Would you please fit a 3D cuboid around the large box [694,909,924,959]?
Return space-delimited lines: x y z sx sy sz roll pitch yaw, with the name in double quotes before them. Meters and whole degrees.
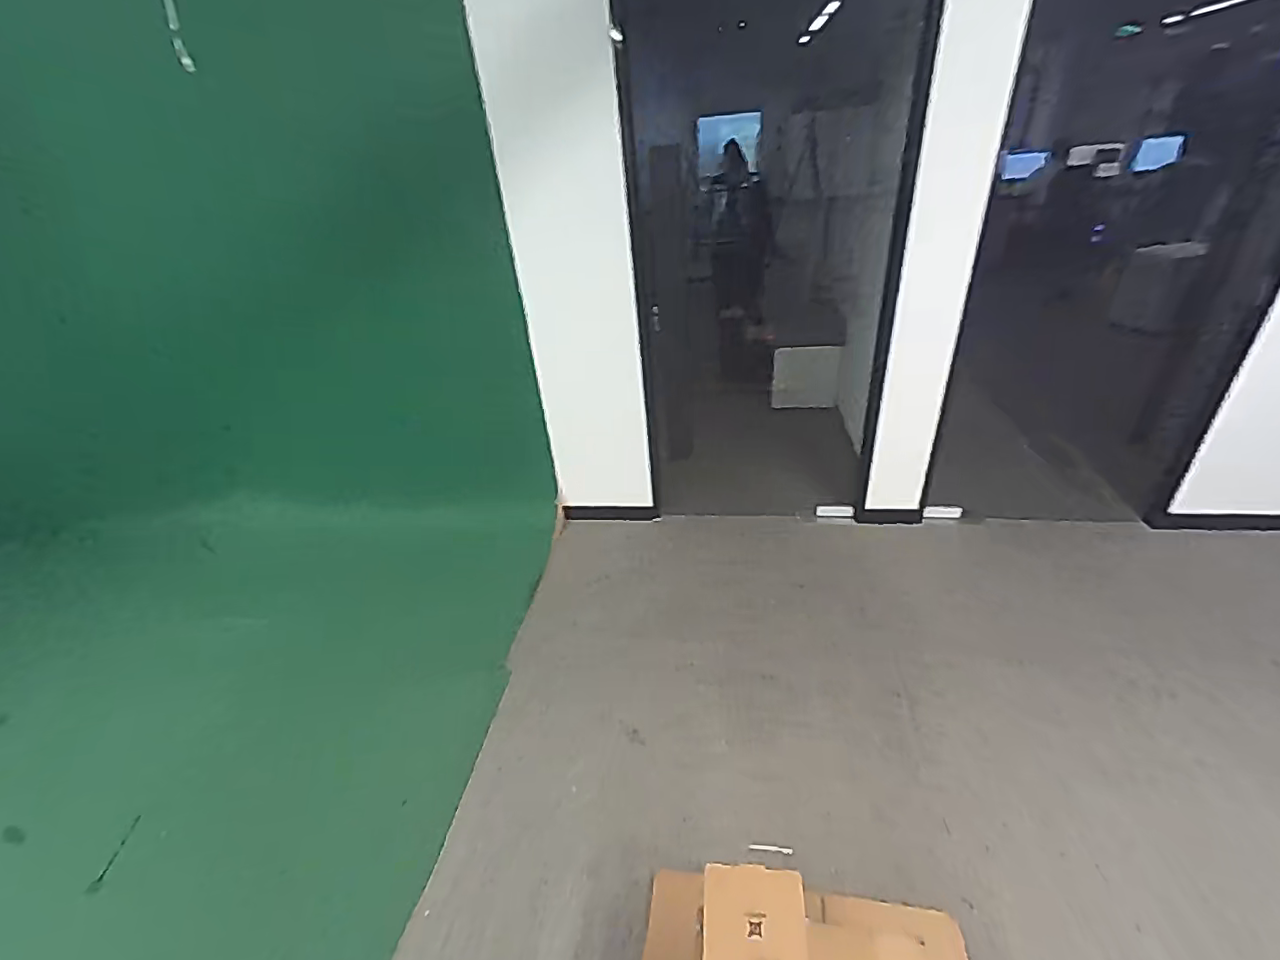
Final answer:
"large box" 0.293 1.026 0.949 0.408 0.320 0.320 1 32 9

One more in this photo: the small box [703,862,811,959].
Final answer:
"small box" 0.189 0.780 0.900 0.168 0.176 0.179 -1 31 8
